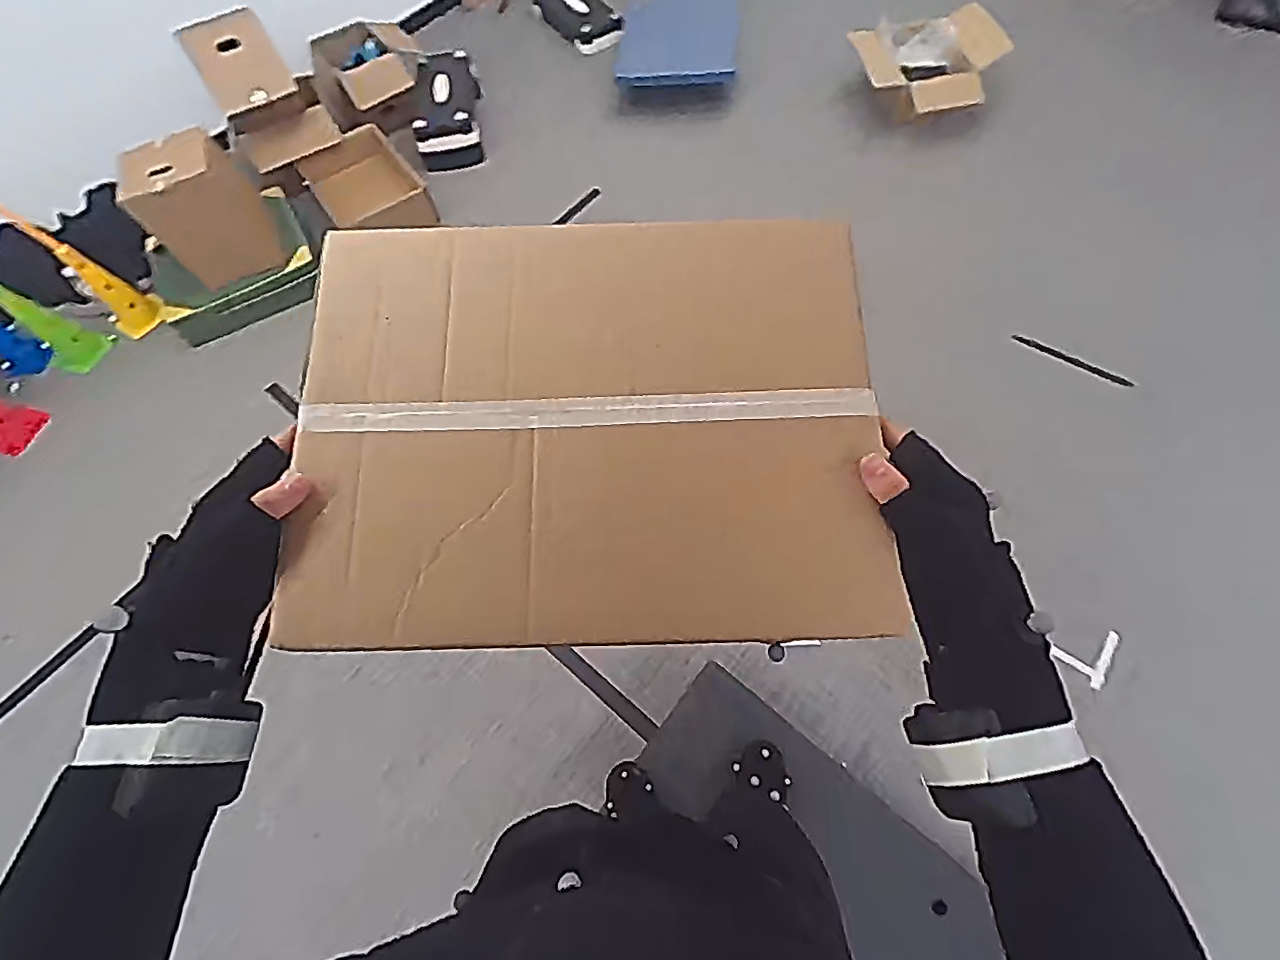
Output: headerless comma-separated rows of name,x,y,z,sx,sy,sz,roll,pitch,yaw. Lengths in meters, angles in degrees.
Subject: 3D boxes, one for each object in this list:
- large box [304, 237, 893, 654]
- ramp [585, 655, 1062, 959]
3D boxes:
large box,-0.028,-0.003,0.539,0.408,0.320,0.320,-1,75,1
ramp,0.406,0.909,1.212,0.991,0.206,0.509,33,70,19
